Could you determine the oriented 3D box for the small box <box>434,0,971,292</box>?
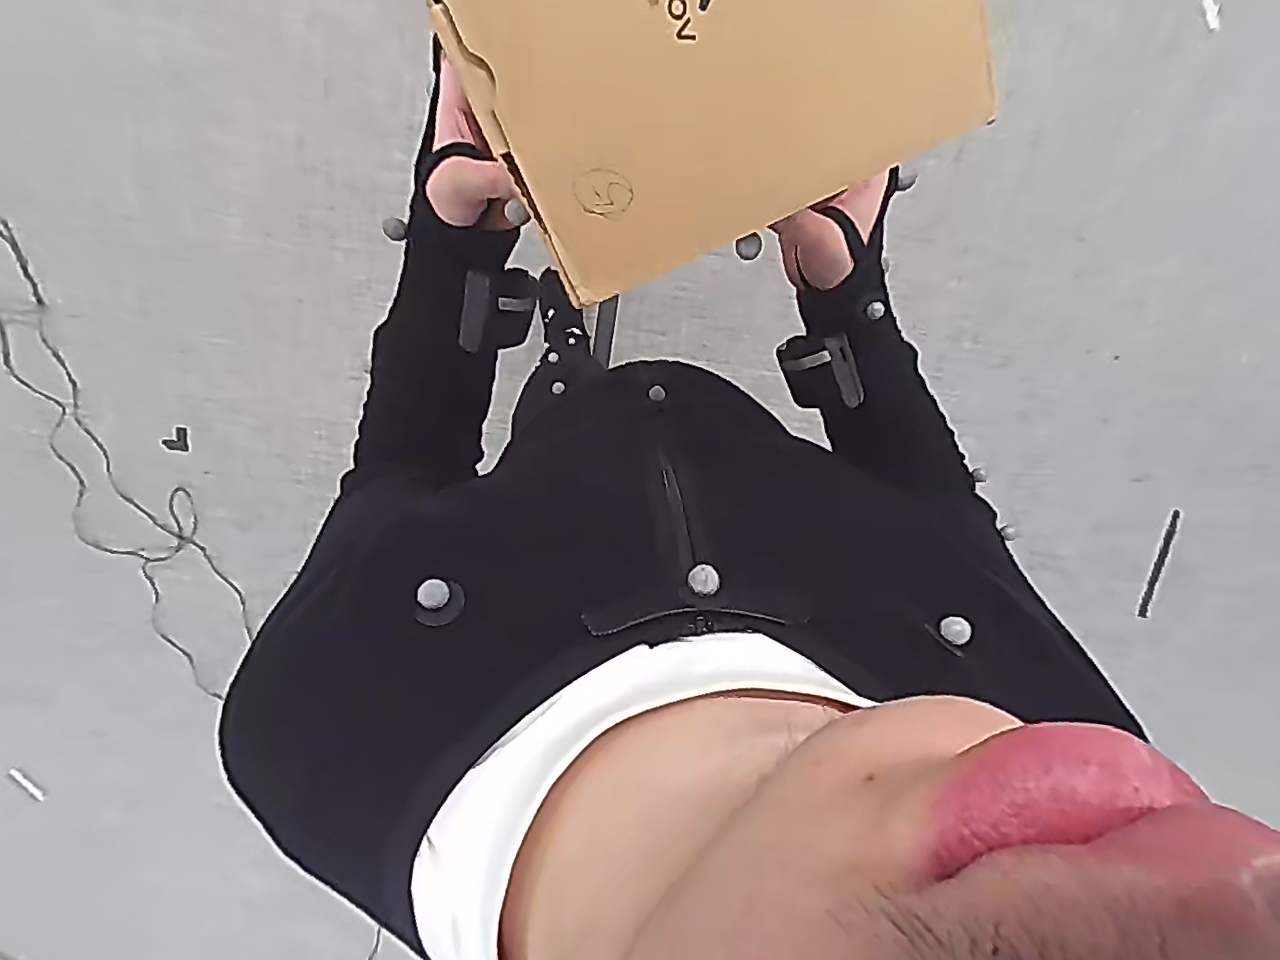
[{"bbox_3d":[0.013,-0.208,0.259,0.179,0.176,0.168,-24,115,4],"label":"small box"}]
